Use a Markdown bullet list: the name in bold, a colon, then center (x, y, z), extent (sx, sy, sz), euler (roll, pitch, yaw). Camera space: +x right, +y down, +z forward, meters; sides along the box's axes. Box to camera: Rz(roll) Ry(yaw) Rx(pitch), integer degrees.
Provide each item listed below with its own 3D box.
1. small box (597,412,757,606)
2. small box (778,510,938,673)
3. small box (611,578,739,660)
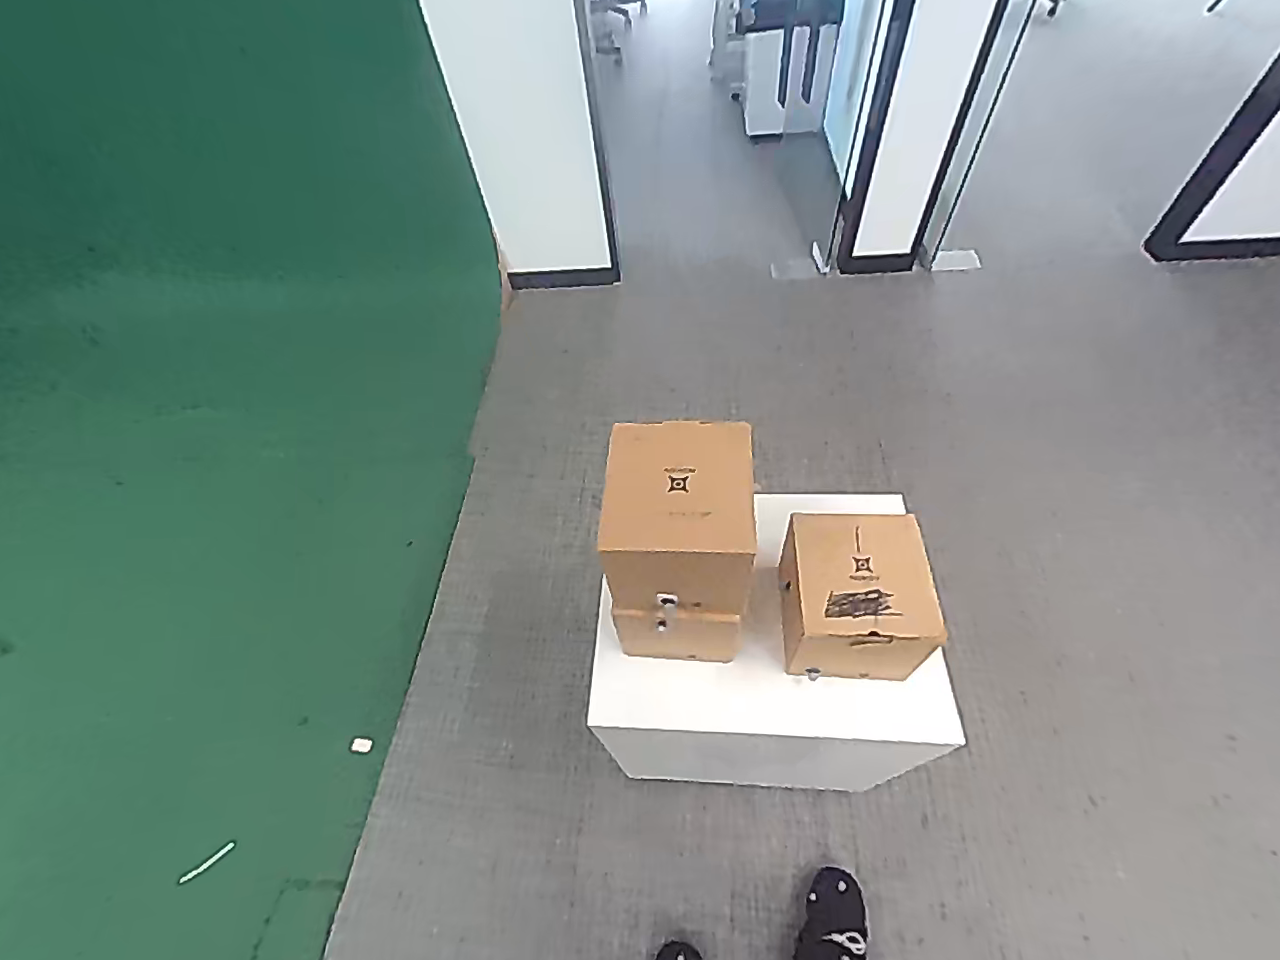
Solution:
- **small box**: center (0.049, 0.036, 0.658), extent (0.168, 0.176, 0.179), euler (0, 56, 7)
- **small box**: center (0.289, 0.160, 0.761), extent (0.168, 0.176, 0.179), euler (1, 53, 7)
- **small box**: center (0.059, 0.146, 0.798), extent (0.168, 0.176, 0.179), euler (1, 53, 9)
